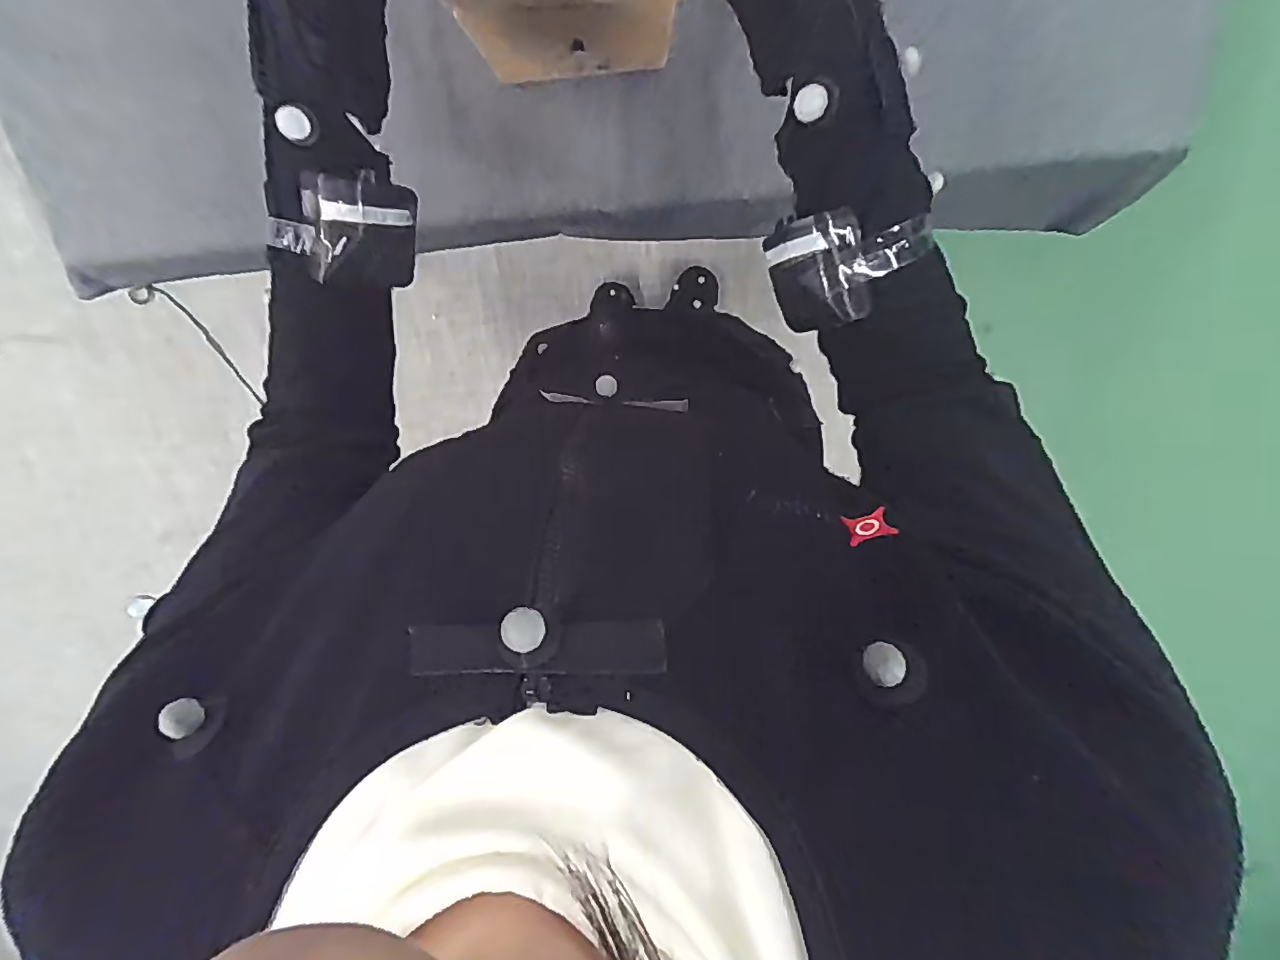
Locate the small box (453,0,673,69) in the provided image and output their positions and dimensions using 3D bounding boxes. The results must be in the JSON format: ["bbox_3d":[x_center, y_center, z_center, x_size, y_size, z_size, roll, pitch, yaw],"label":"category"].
[{"bbox_3d":[-0.060,-0.456,0.430,0.168,0.176,0.179,-5,112,3],"label":"small box"}]
